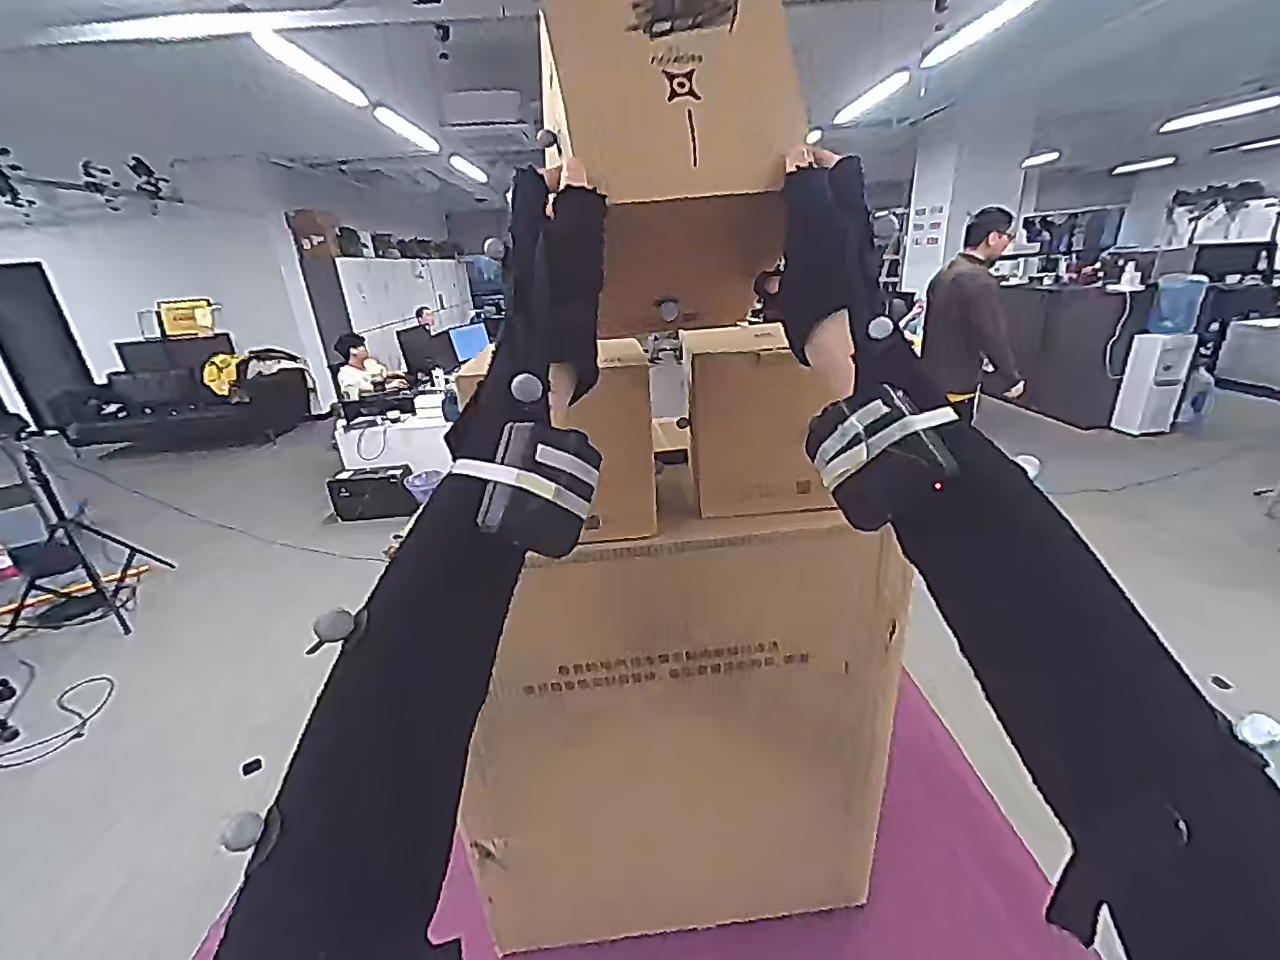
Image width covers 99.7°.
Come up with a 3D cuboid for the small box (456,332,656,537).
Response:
[{"bbox_3d":[-0.074,-0.055,0.555,0.168,0.176,0.179,-5,21,-2],"label":"small box"}]

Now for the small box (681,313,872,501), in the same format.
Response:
[{"bbox_3d":[0.135,-0.081,0.589,0.168,0.176,0.179,-4,21,2],"label":"small box"}]

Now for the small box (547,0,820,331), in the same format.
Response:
[{"bbox_3d":[0.017,-0.250,0.449,0.168,0.179,0.176,-10,-15,-10],"label":"small box"}]
